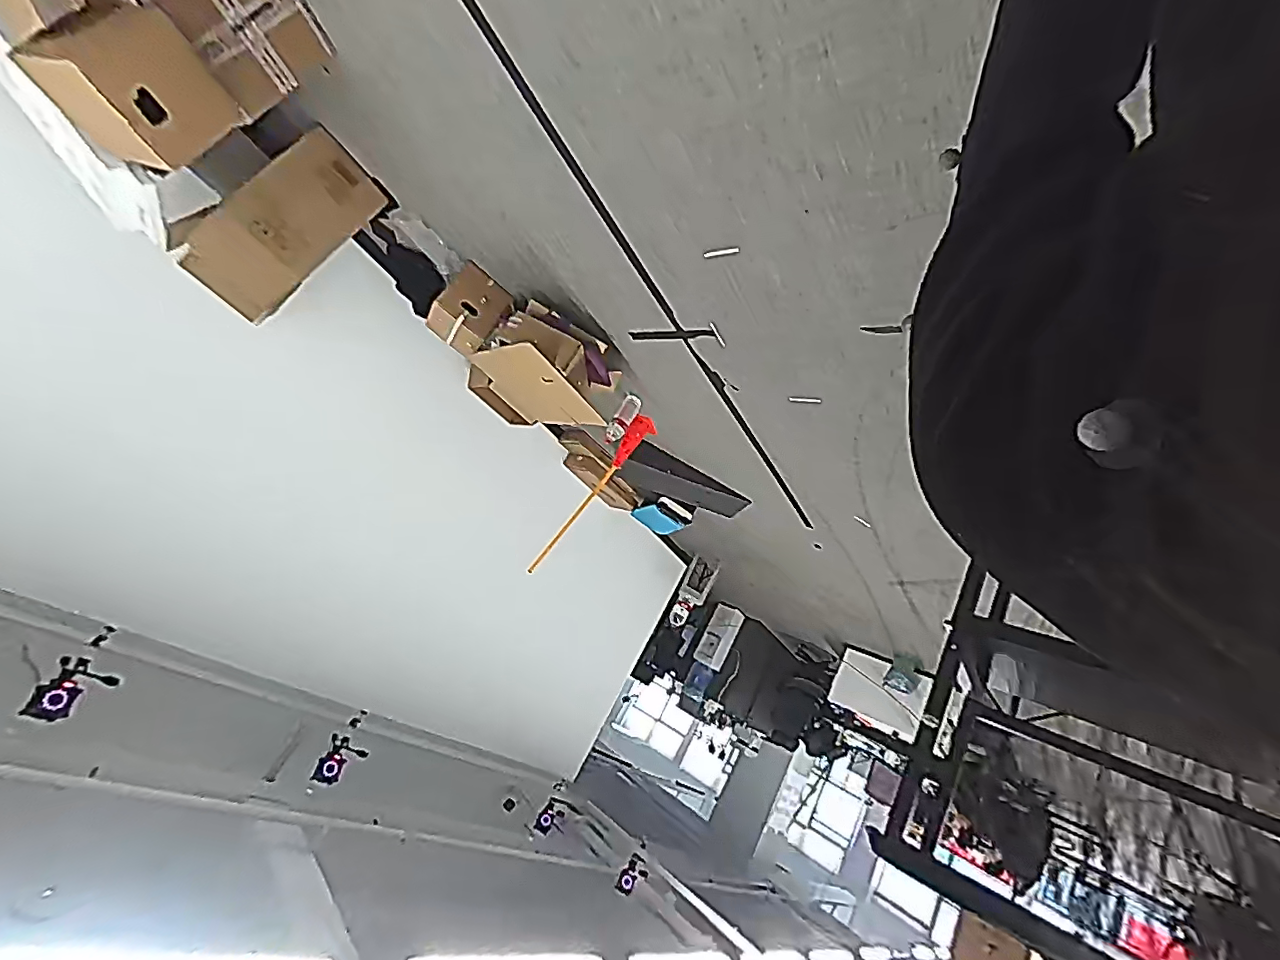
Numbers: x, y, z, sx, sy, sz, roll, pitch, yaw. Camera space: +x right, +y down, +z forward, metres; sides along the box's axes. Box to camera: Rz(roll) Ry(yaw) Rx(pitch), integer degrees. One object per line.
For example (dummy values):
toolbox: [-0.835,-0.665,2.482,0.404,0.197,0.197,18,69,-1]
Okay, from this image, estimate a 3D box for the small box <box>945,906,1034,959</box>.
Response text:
small box: [0.931,1.275,1.439,0.168,0.176,0.179,11,155,43]
